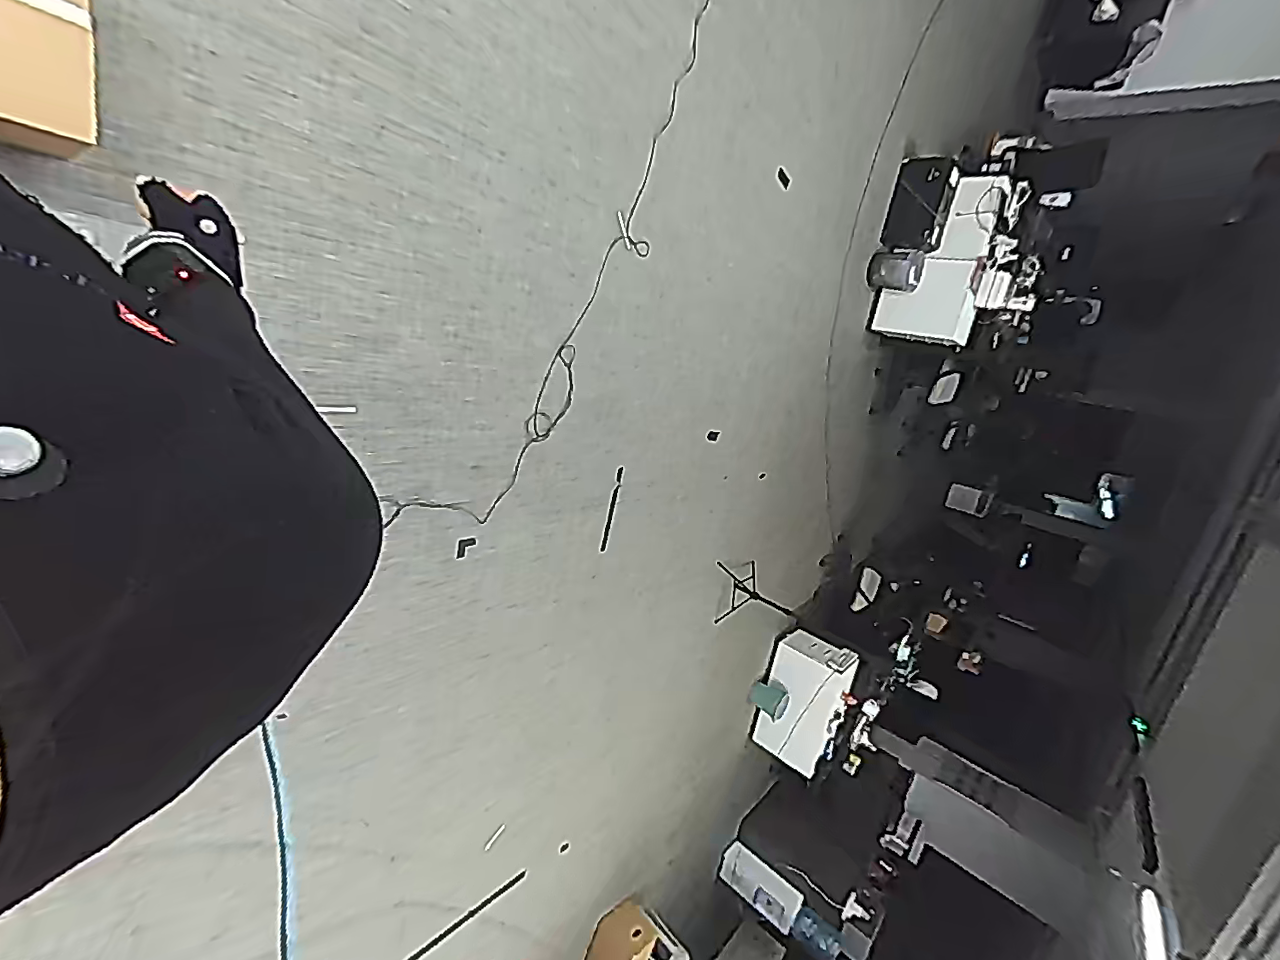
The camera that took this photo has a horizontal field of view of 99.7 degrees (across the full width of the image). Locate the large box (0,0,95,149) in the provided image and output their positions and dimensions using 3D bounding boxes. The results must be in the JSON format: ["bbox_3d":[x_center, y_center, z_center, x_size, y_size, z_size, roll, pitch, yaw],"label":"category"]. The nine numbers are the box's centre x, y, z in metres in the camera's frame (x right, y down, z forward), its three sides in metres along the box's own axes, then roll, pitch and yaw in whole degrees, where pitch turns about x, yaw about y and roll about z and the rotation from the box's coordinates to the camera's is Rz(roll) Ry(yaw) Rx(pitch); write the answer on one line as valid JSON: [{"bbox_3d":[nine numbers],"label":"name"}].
[{"bbox_3d":[-1.006,-0.671,0.684,0.408,0.320,0.320,-6,113,-51],"label":"large box"}]
